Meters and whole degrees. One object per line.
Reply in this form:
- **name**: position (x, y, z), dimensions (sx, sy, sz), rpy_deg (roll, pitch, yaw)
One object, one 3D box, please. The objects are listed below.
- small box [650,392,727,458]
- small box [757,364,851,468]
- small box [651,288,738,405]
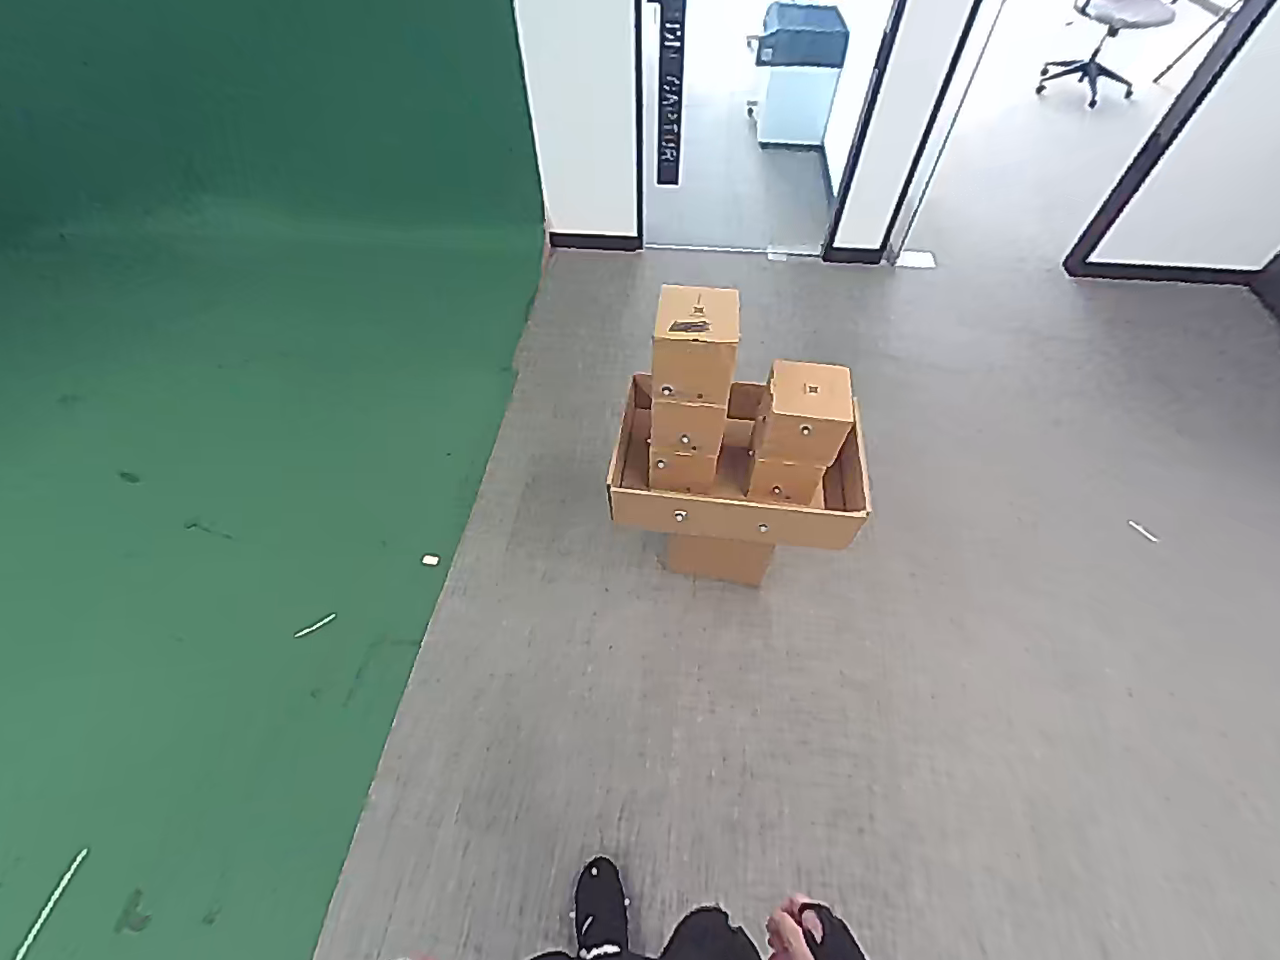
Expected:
- **small box**: position (0.114, -0.177, 1.271), dimensions (0.168, 0.176, 0.179), rpy_deg (6, 54, 4)
- **small box**: position (0.373, -0.145, 1.255), dimensions (0.179, 0.176, 0.168), rpy_deg (8, 56, 4)
- **small box**: position (0.113, -0.279, 1.142), dimensions (0.168, 0.176, 0.179), rpy_deg (6, 53, 3)
